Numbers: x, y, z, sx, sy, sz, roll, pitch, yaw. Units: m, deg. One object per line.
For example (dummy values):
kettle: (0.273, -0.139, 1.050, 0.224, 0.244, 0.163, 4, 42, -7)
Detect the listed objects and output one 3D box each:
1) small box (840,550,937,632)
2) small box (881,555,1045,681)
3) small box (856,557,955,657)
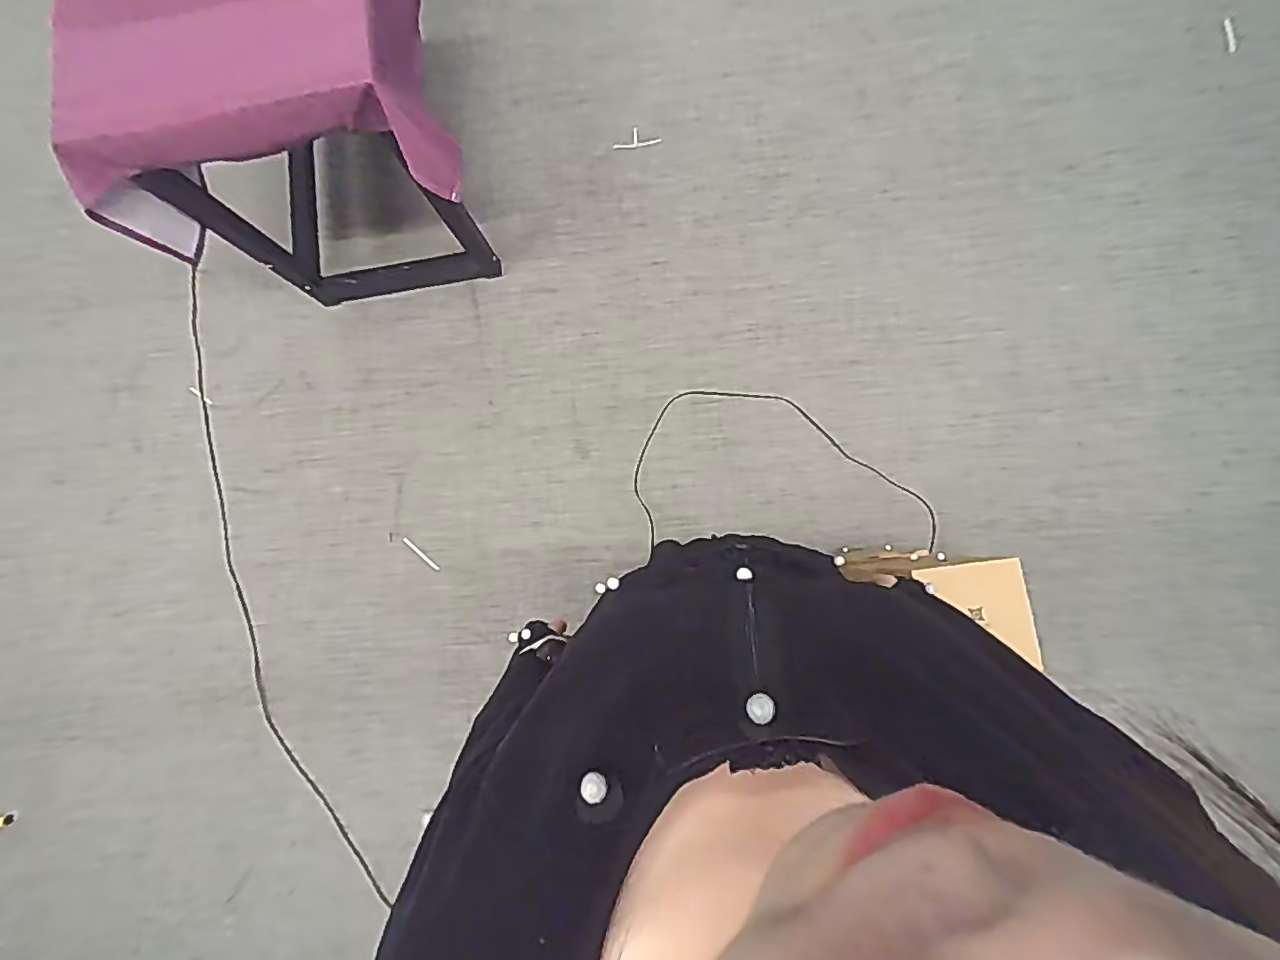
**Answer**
small box: (0.567, 0.254, 1.224, 0.168, 0.176, 0.179, -8, 83, 5)
small box: (0.521, 0.221, 0.901, 0.168, 0.176, 0.179, -7, 82, 5)
small box: (0.541, 0.243, 1.064, 0.179, 0.176, 0.168, -8, 82, 4)
